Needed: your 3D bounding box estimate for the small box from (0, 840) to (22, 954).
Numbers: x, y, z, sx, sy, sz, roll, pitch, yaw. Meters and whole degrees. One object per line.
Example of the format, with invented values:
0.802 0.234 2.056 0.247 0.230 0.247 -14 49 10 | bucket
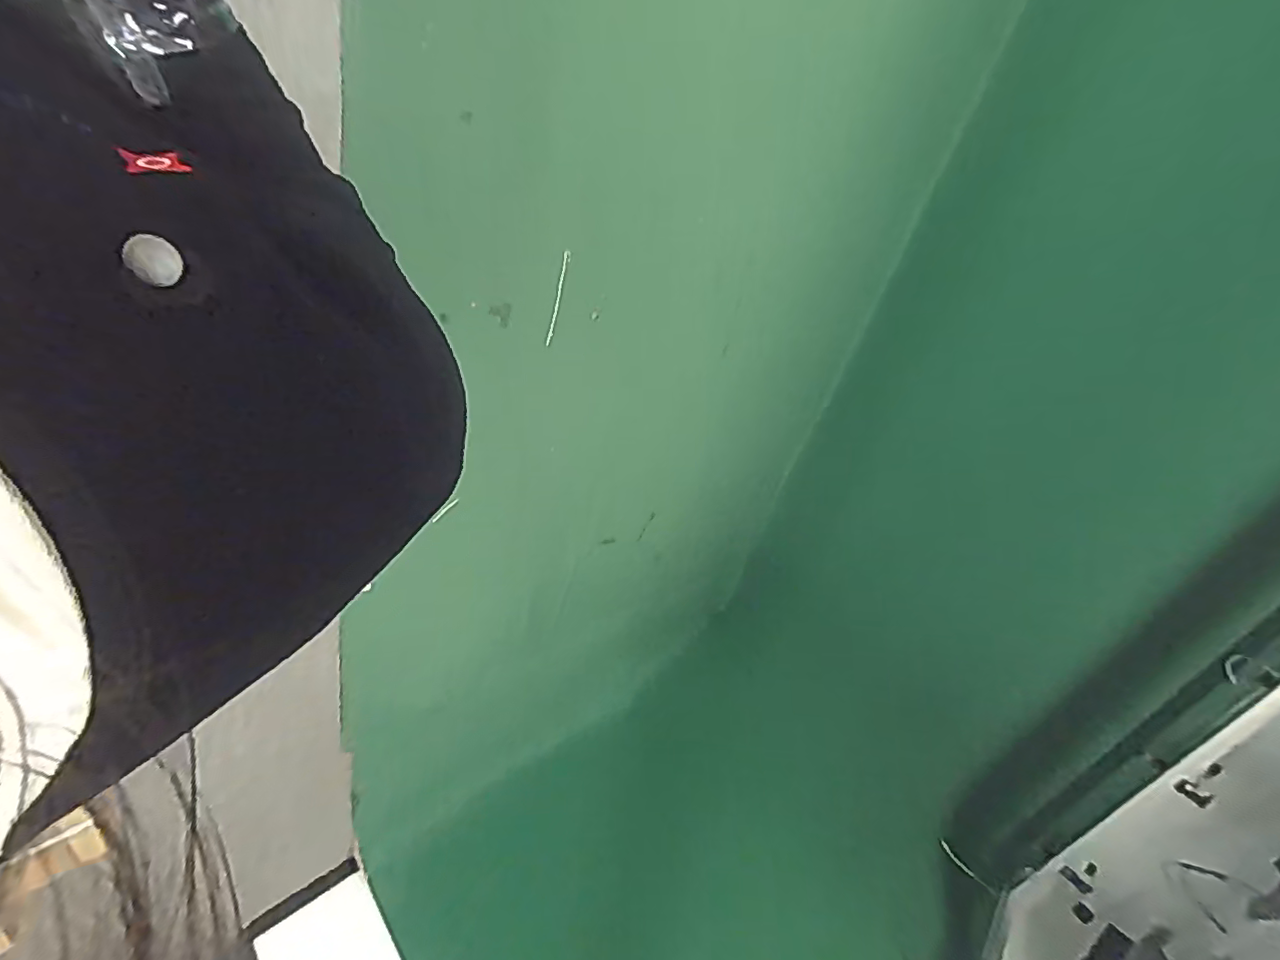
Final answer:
-1.372 0.861 1.063 0.179 0.176 0.168 -17 134 -44 | small box
